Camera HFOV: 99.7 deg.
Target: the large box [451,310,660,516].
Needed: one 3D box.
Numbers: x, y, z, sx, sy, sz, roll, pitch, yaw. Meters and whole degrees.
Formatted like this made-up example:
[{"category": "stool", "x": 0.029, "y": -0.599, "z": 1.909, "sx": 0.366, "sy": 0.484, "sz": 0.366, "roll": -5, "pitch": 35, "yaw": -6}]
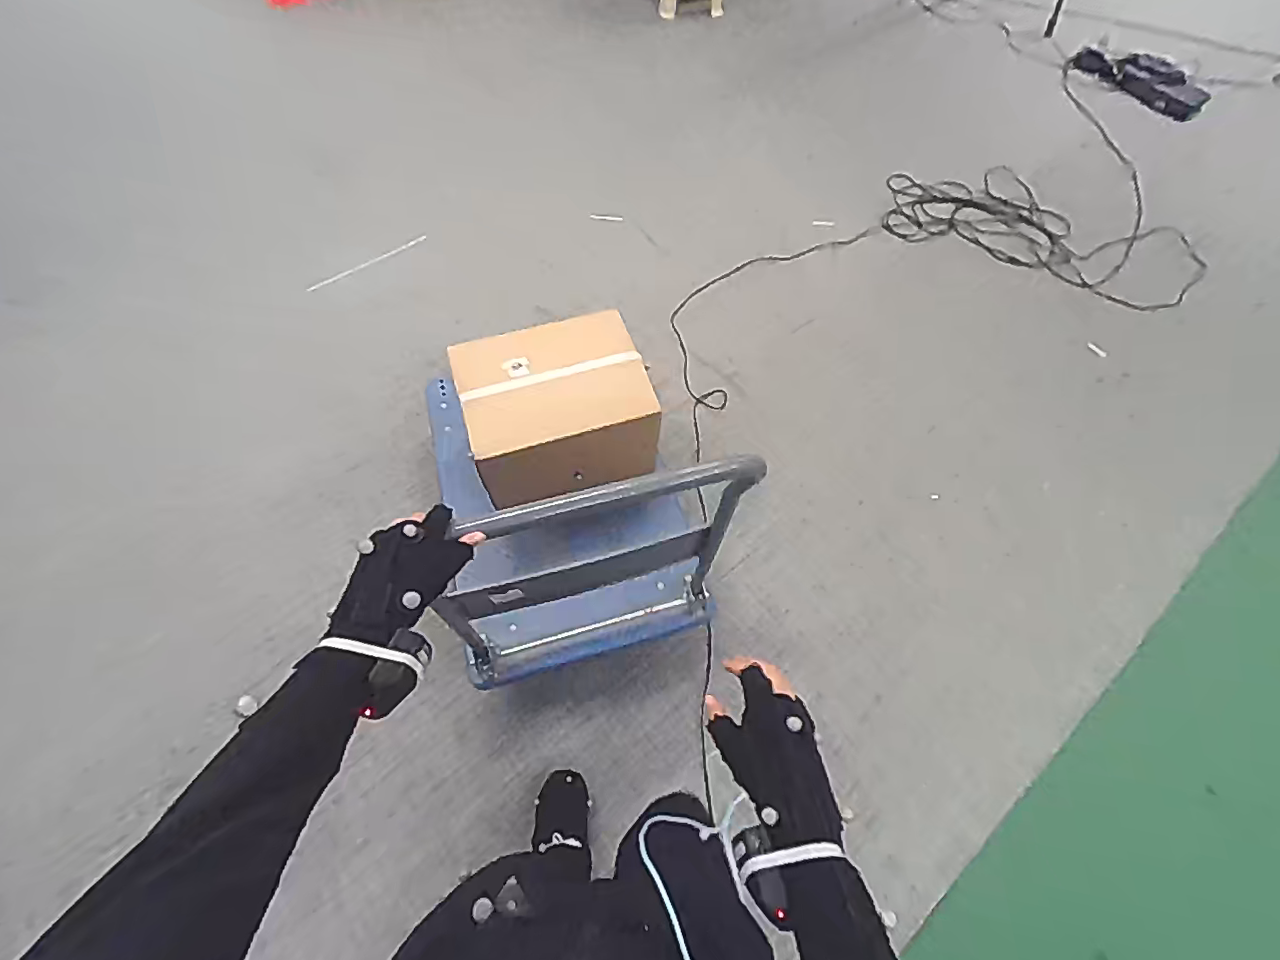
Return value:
[{"category": "large box", "x": -0.194, "y": -0.153, "z": 1.323, "sx": 0.408, "sy": 0.320, "sz": 0.320, "roll": -16, "pitch": 64, "yaw": -9}]
